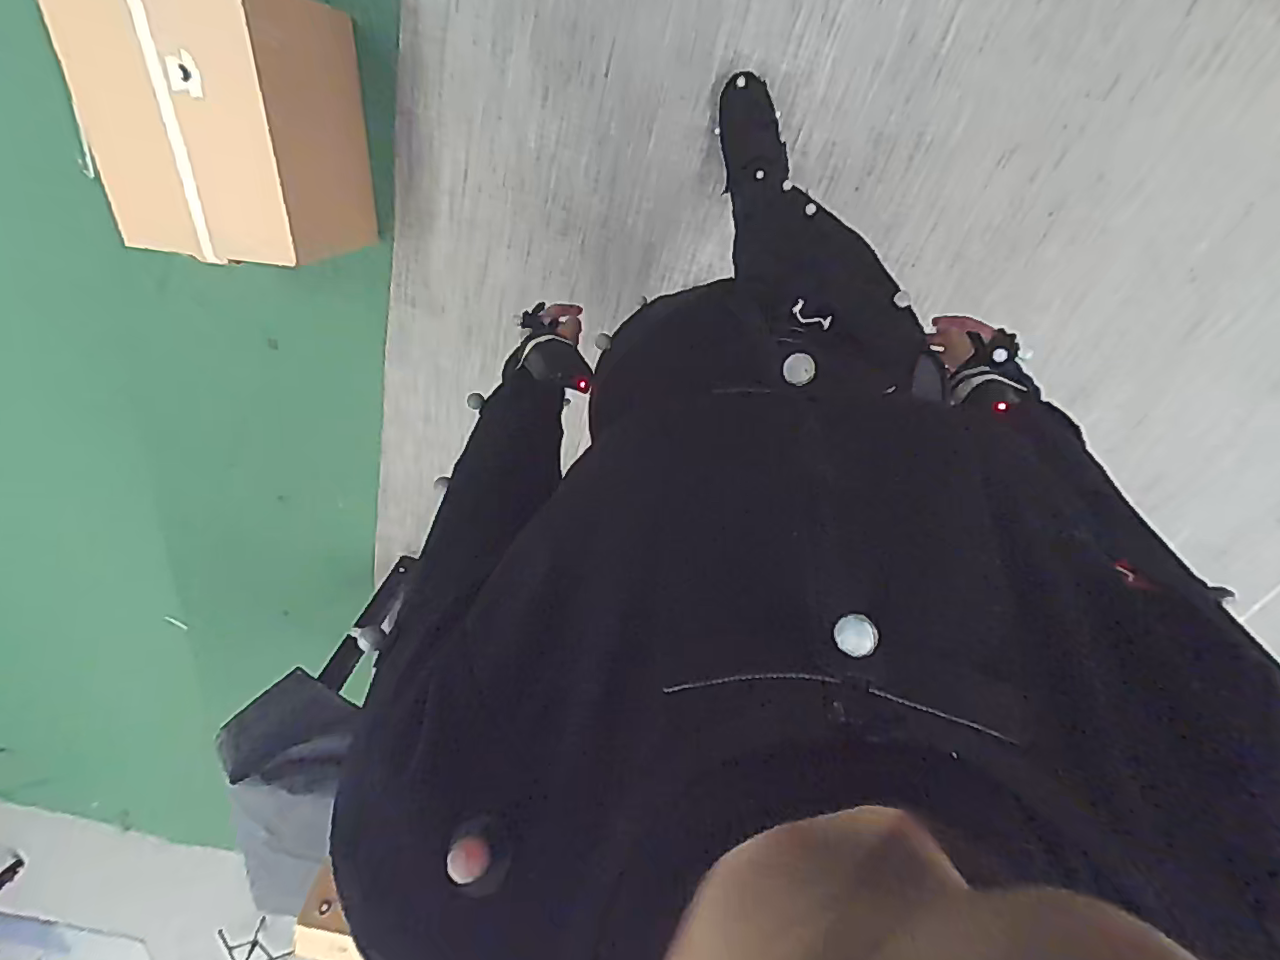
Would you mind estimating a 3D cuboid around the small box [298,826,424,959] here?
[{"bbox_3d":[-0.562,0.843,1.105,0.179,0.176,0.168,18,122,-6],"label":"small box"}]
